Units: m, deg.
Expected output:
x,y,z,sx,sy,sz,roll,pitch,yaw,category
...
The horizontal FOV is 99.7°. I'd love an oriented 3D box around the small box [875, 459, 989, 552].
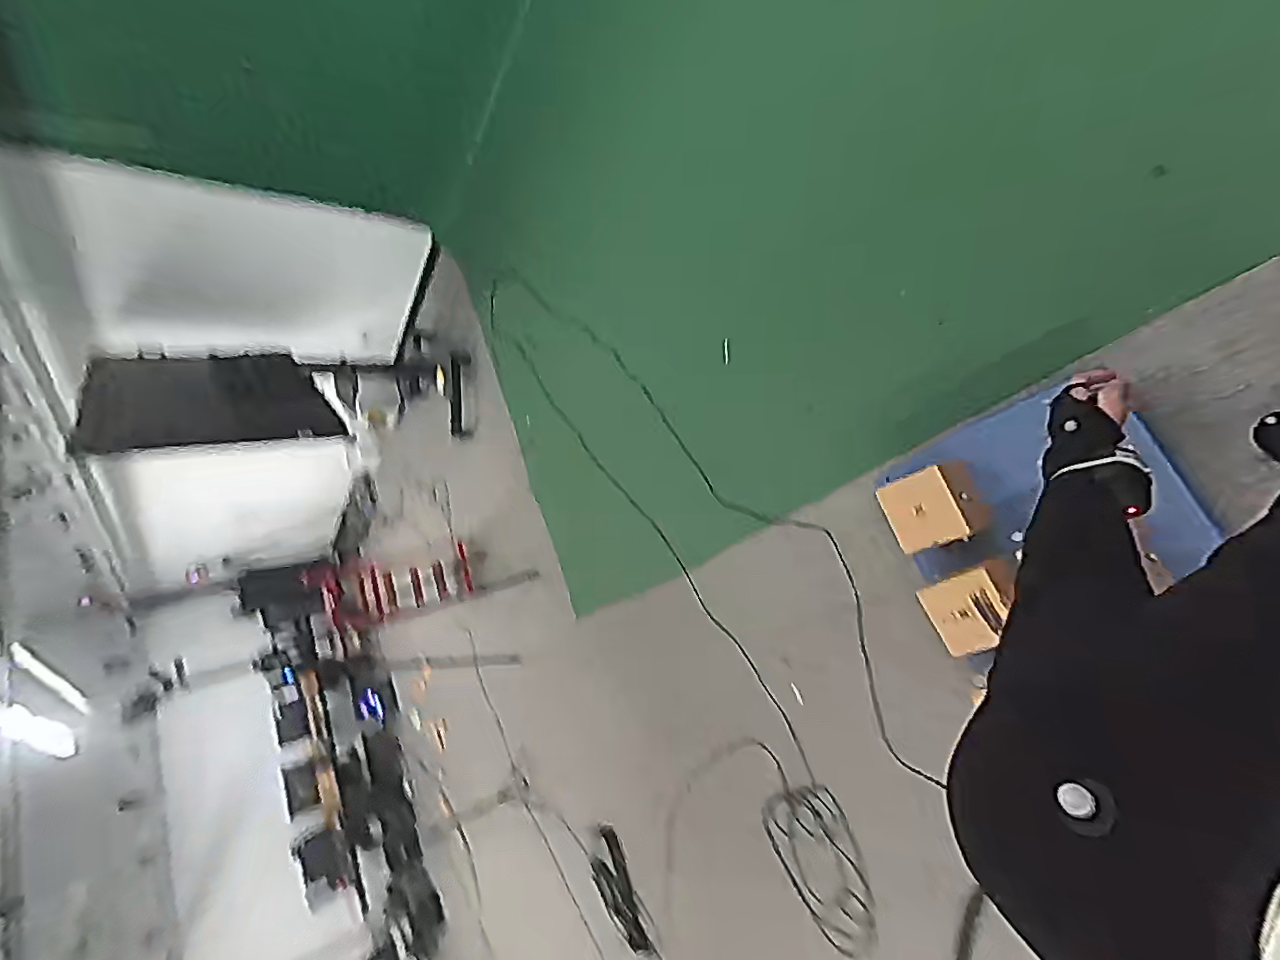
x,y,z,sx,sy,sz,roll,pitch,yaw,category
0.733,0.061,1.354,0.168,0.176,0.179,-35,71,46,small box
